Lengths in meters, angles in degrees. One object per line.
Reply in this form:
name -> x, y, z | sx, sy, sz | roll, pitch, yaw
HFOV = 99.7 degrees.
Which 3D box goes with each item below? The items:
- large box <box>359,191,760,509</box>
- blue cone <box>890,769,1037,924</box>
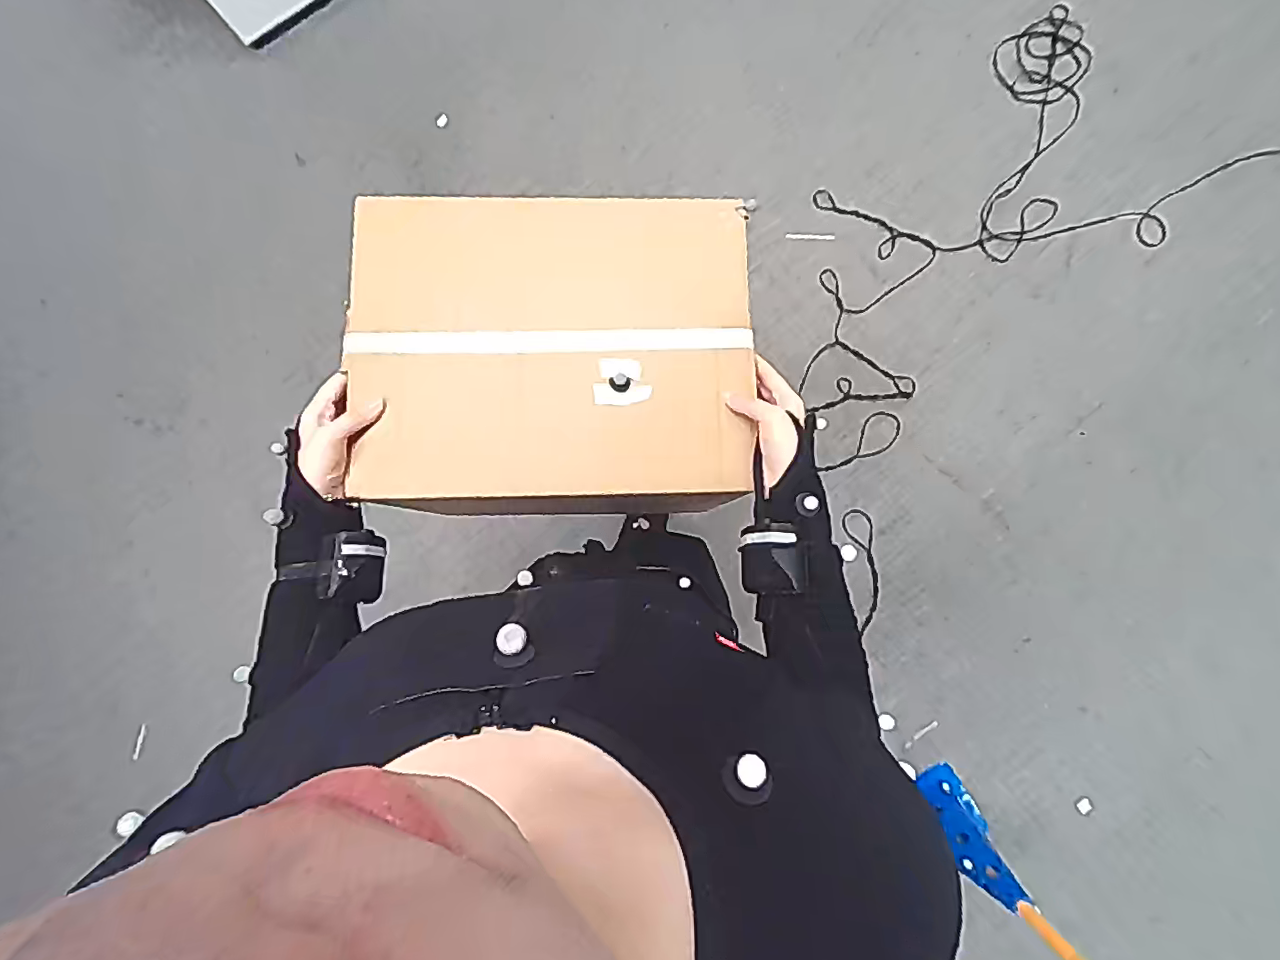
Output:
large box -> -0.092, -0.134, 0.699 | 0.408, 0.320, 0.320 | -1, 84, -4
blue cone -> 0.733, 0.824, 1.194 | 0.193, 0.380, 0.192 | -30, 82, 0
